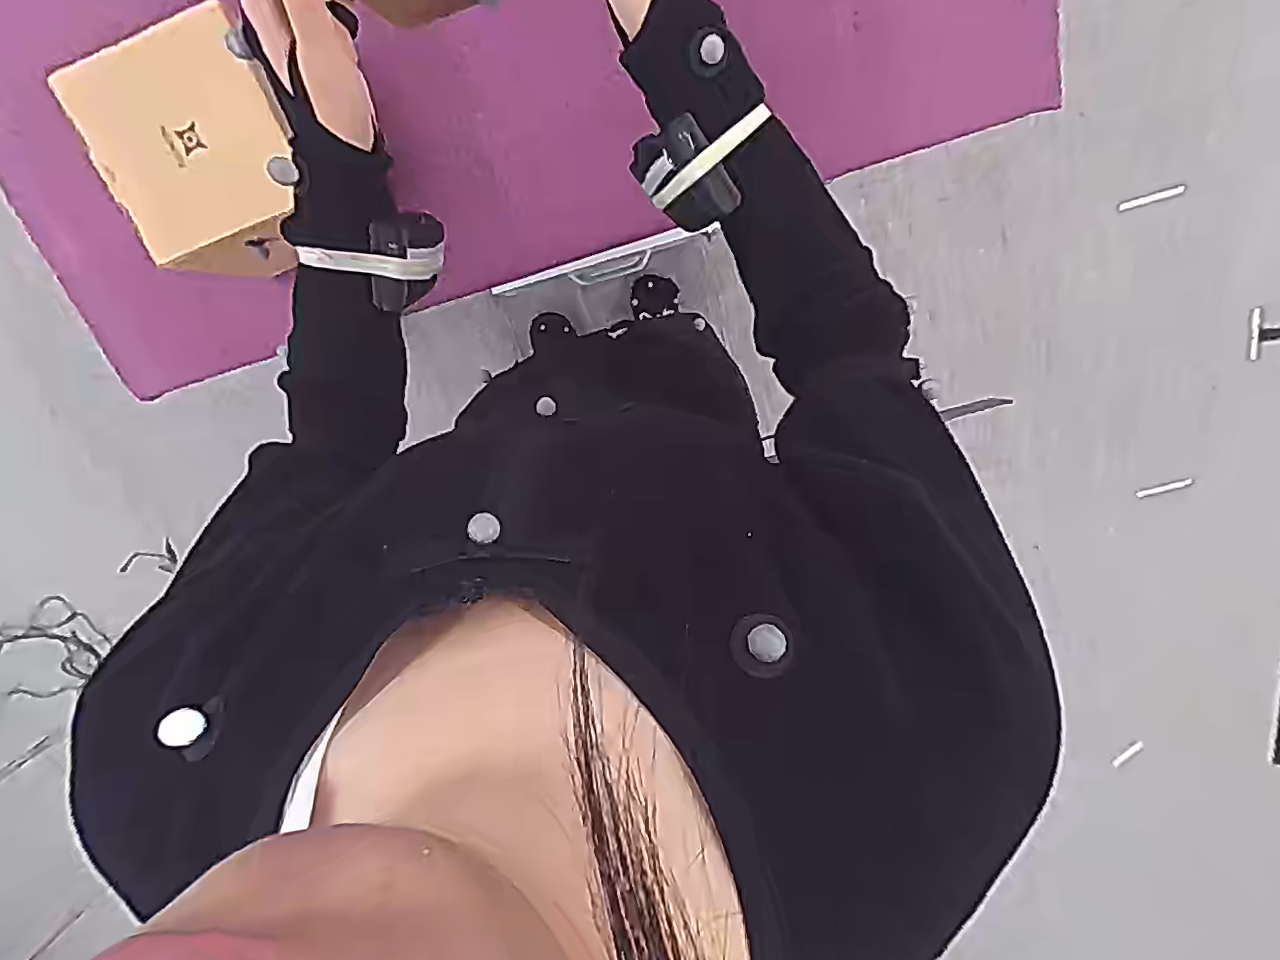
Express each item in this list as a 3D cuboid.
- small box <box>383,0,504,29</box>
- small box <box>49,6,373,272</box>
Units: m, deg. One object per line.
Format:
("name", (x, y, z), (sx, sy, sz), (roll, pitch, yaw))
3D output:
("small box", (-0.116, -0.390, 0.287), (0.168, 0.176, 0.179), (-16, 118, 4))
("small box", (-0.413, -0.330, 0.565), (0.179, 0.176, 0.168), (-19, 107, 6))
